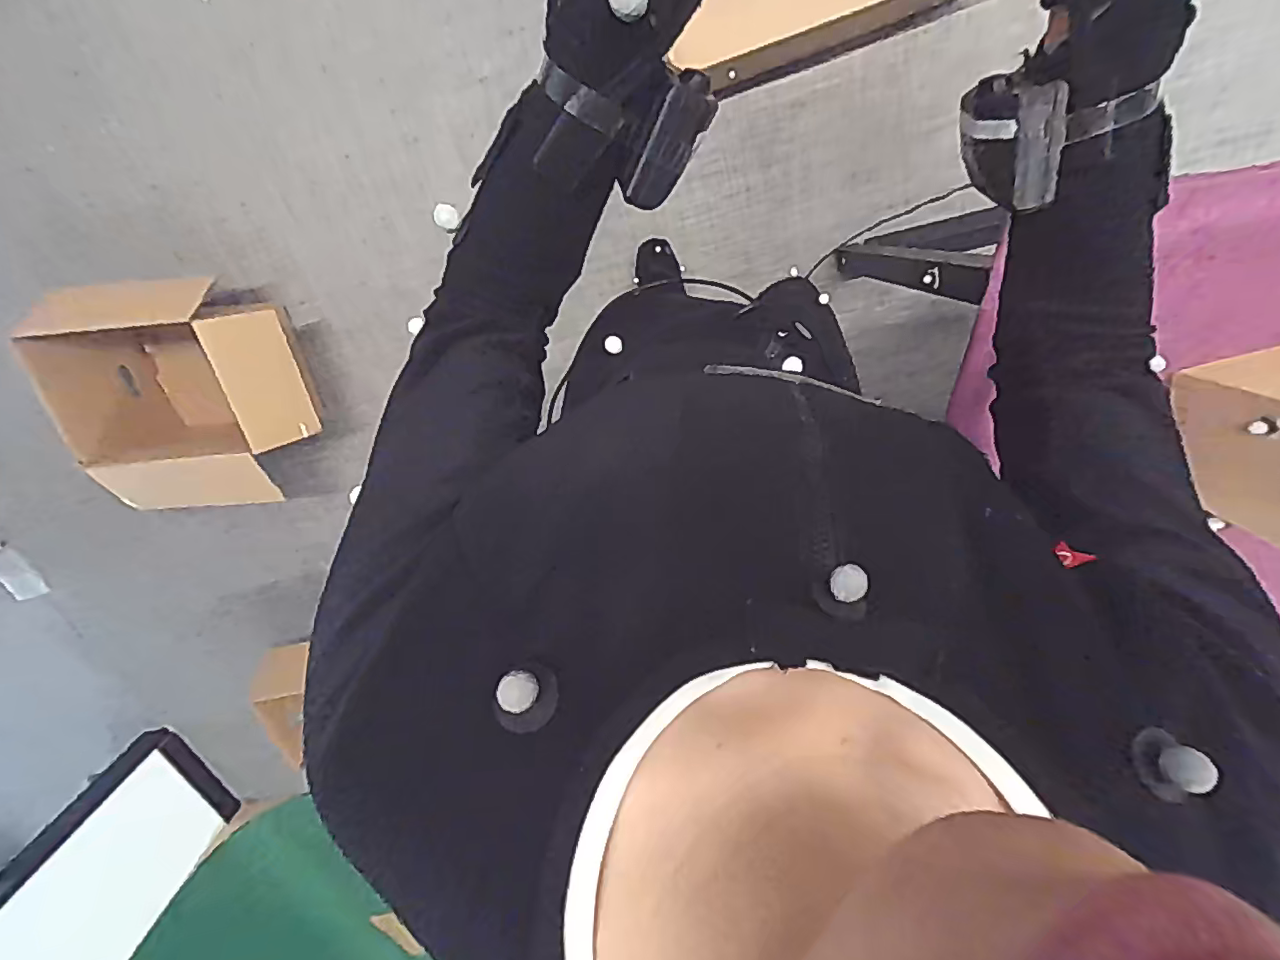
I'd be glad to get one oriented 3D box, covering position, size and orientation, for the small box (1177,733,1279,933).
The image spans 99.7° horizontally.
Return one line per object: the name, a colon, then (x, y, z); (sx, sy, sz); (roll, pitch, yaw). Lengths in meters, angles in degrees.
small box: (0.828, 0.426, 0.654); (0.179, 0.176, 0.168); (-11, 114, 7)
